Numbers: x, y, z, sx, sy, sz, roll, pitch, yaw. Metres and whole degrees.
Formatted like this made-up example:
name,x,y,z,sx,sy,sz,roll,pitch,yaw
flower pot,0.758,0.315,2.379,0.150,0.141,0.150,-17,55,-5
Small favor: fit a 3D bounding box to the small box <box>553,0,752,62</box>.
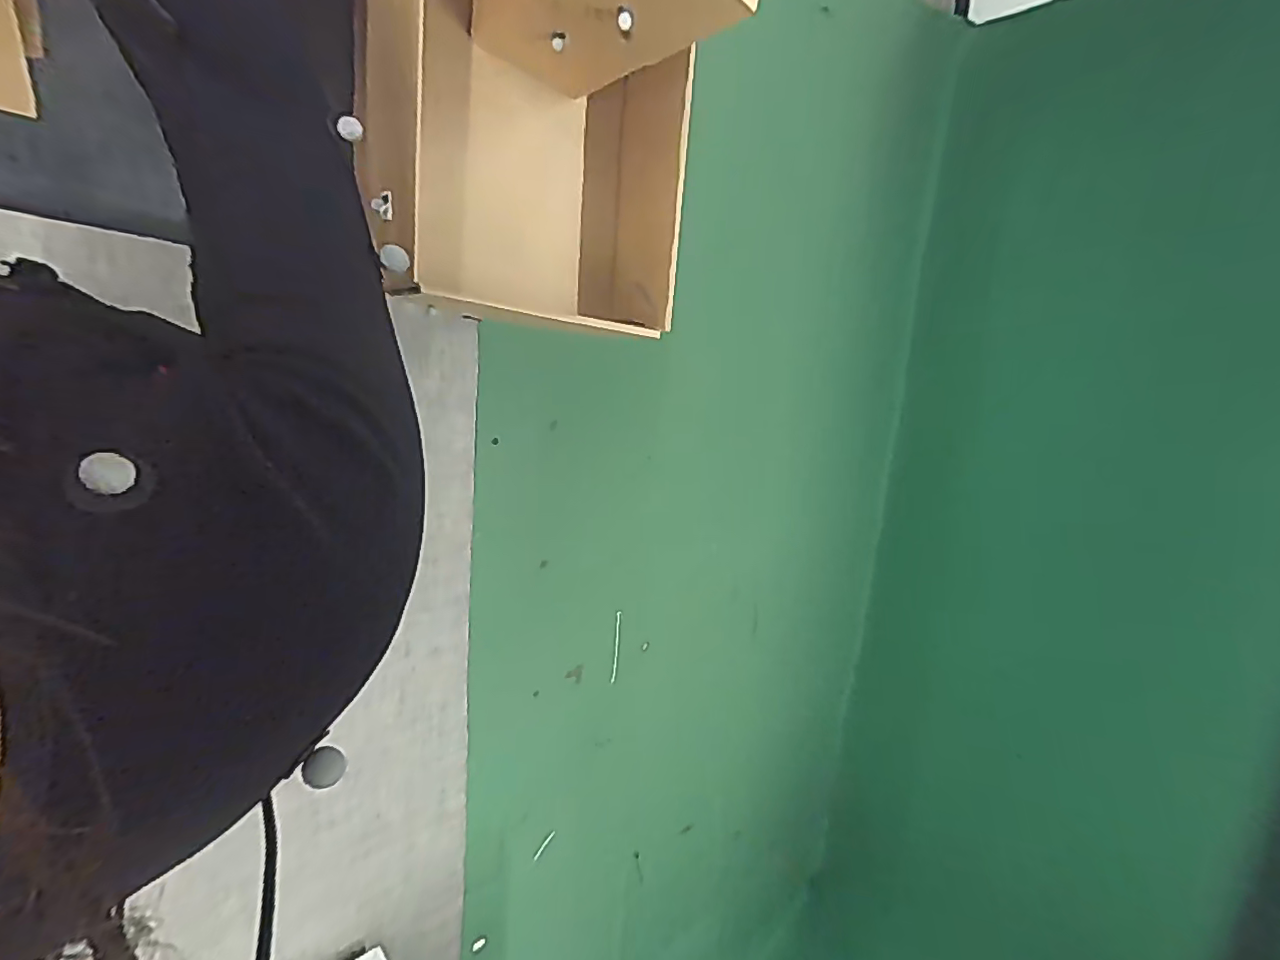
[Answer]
name,x,y,z,sx,sy,sz,roll,pitch,yaw
small box,0.014,-0.601,0.574,0.168,0.176,0.179,-3,104,-44
